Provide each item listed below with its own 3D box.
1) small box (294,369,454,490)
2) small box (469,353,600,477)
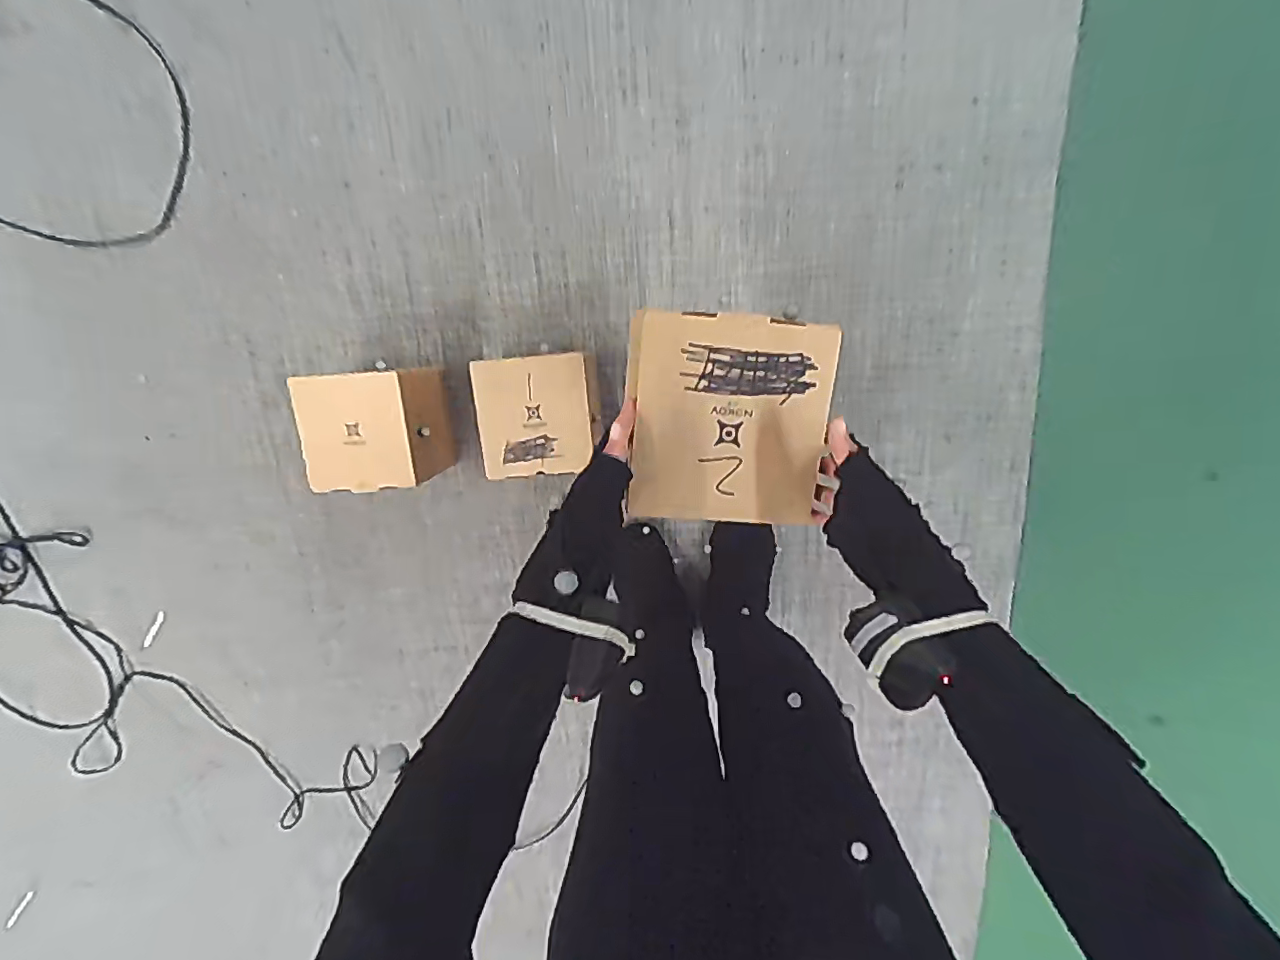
[{"bbox_3d":[-0.425,-0.091,0.894,0.168,0.176,0.179,-3,104,3],"label":"small box"},{"bbox_3d":[-0.160,-0.112,0.878,0.168,0.176,0.179,-4,103,3],"label":"small box"}]
